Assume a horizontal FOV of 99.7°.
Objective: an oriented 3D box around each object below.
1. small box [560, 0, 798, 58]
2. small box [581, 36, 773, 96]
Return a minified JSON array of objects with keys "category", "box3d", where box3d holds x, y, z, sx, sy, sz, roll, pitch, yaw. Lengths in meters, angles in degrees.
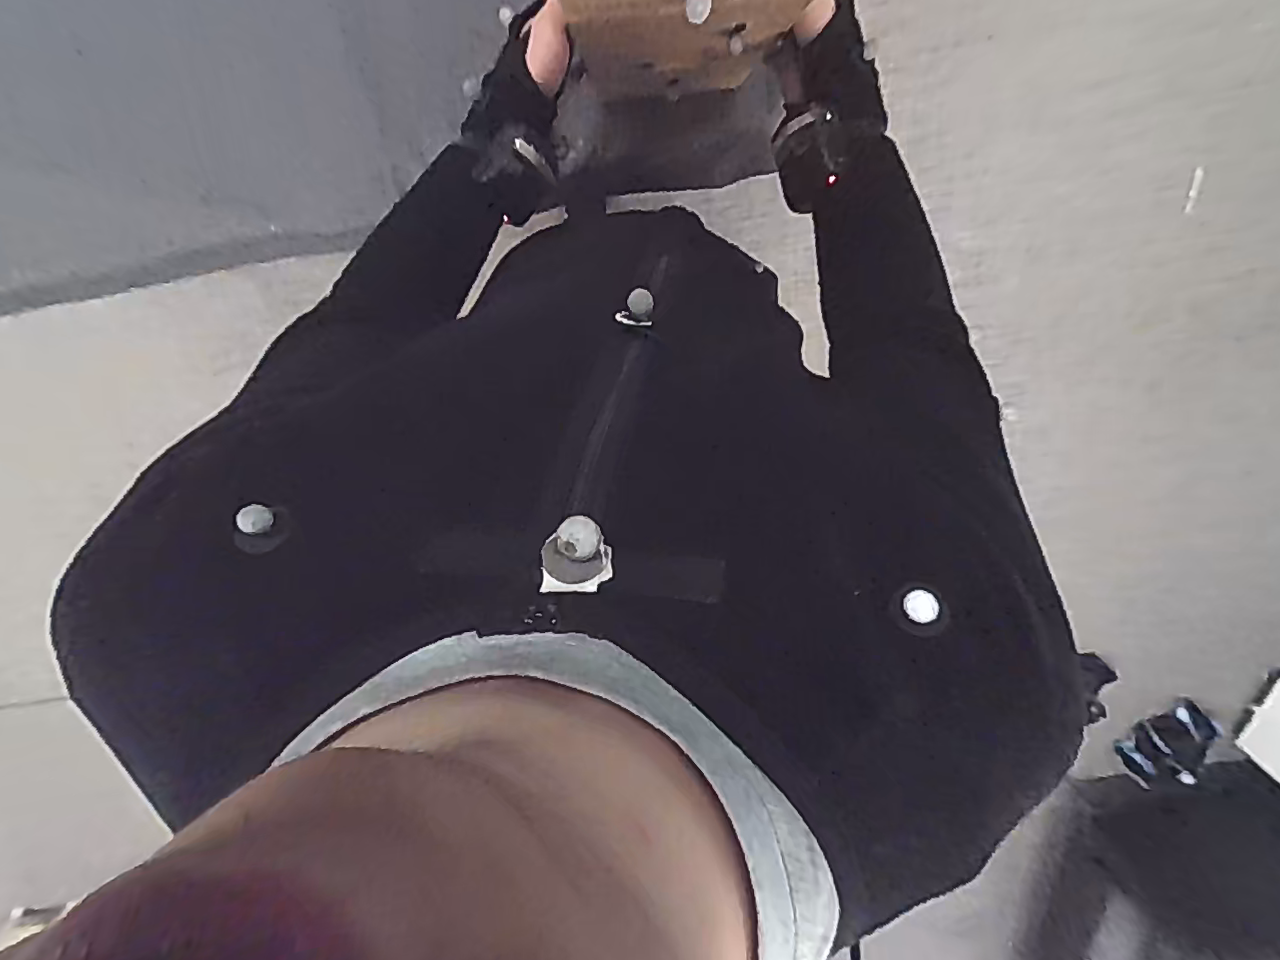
[{"category":"small box","box3d":[0.026,-0.400,0.348,0.168,0.176,0.179,-5,115,2]},{"category":"small box","box3d":[0.026,-0.471,0.495,0.168,0.176,0.179,-5,117,3]}]
